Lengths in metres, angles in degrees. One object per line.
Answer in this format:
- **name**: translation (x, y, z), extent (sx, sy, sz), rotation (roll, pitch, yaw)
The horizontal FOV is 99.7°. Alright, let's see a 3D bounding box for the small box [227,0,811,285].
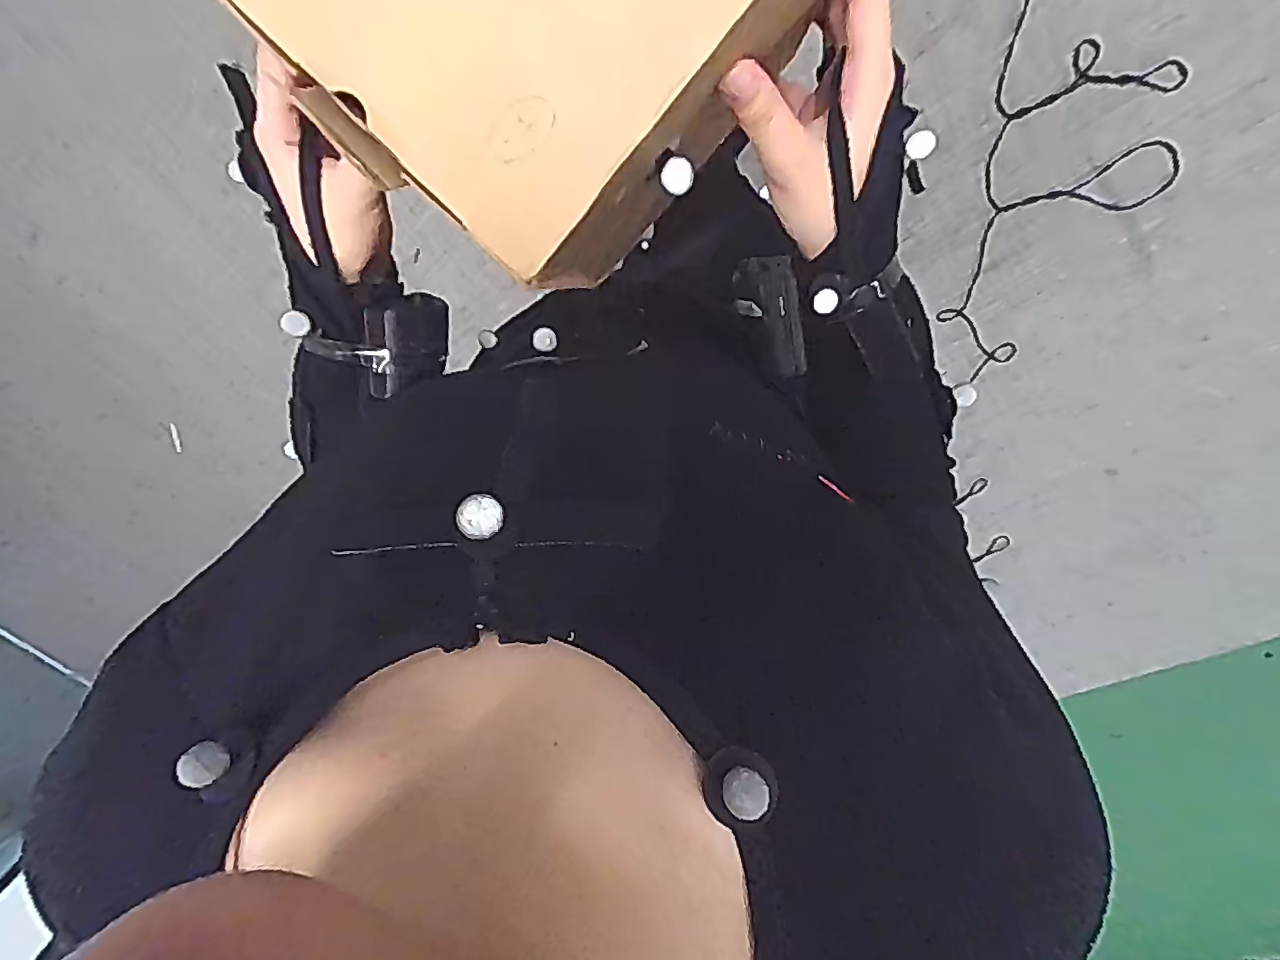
- **small box**: translation (-0.033, -0.212, 0.245), extent (0.168, 0.176, 0.179), rotation (42, 109, -10)
